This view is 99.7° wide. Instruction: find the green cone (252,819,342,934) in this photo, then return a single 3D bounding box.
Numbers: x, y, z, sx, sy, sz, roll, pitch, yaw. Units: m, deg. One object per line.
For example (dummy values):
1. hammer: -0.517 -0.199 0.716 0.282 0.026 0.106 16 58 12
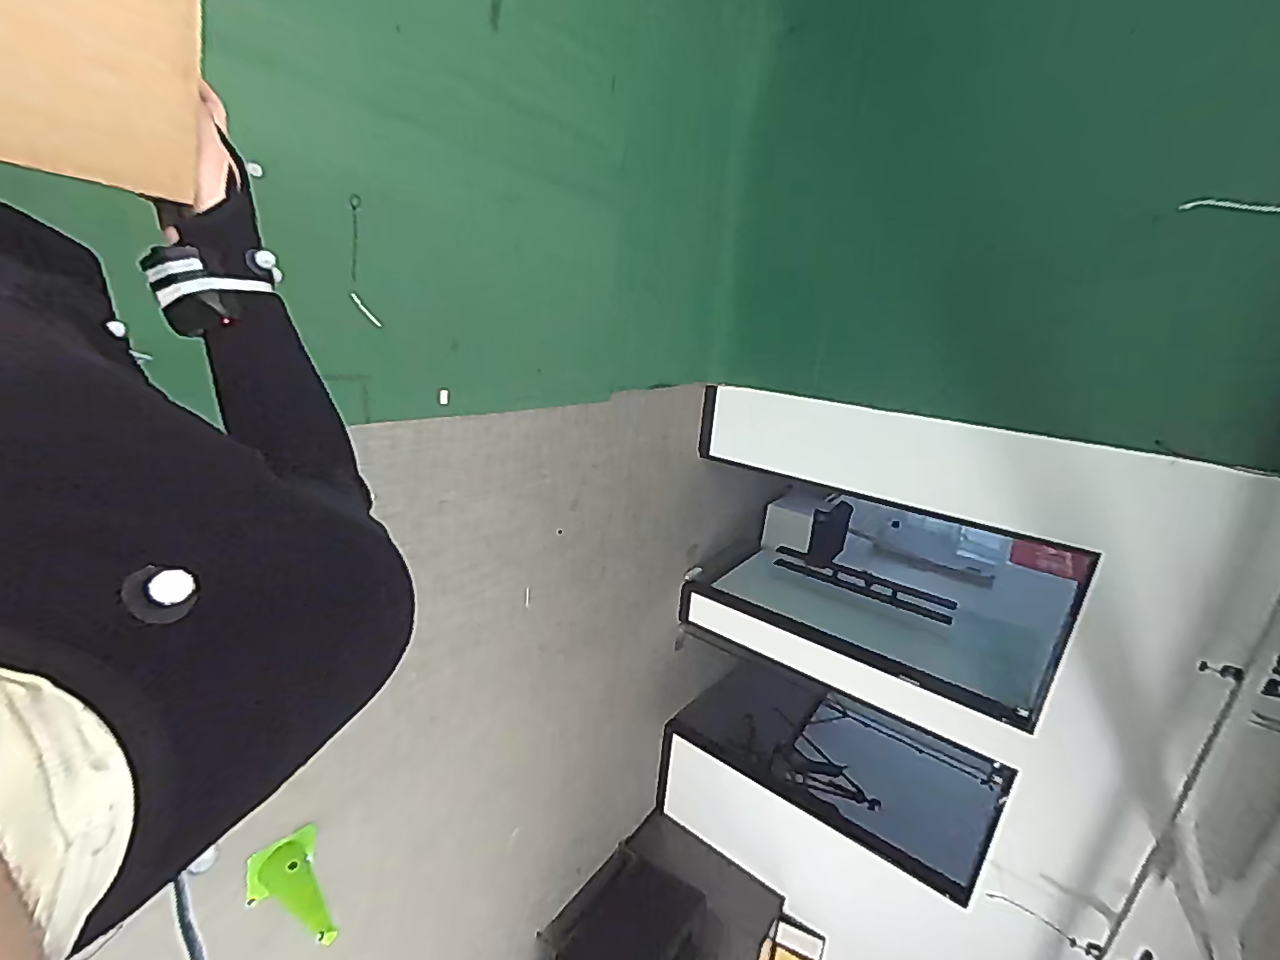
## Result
1. green cone: -1.066 1.324 1.743 0.200 0.368 0.202 -9 110 -54
